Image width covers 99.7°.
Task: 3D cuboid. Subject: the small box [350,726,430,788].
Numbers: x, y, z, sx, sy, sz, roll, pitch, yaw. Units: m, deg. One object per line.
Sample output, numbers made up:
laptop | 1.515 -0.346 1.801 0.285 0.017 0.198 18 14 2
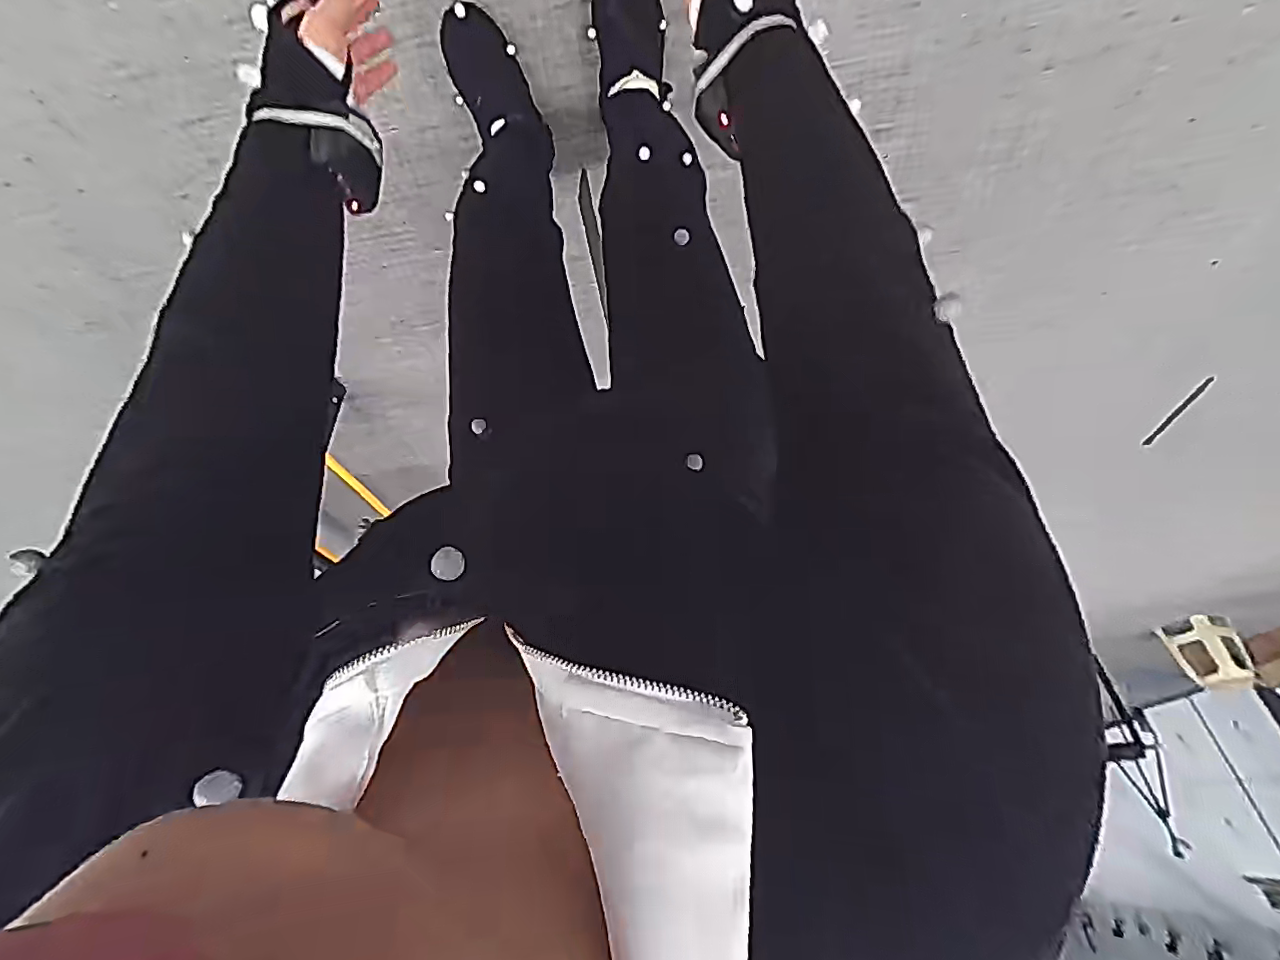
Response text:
small box | -0.827 0.932 1.805 0.179 0.176 0.168 -7 147 2
